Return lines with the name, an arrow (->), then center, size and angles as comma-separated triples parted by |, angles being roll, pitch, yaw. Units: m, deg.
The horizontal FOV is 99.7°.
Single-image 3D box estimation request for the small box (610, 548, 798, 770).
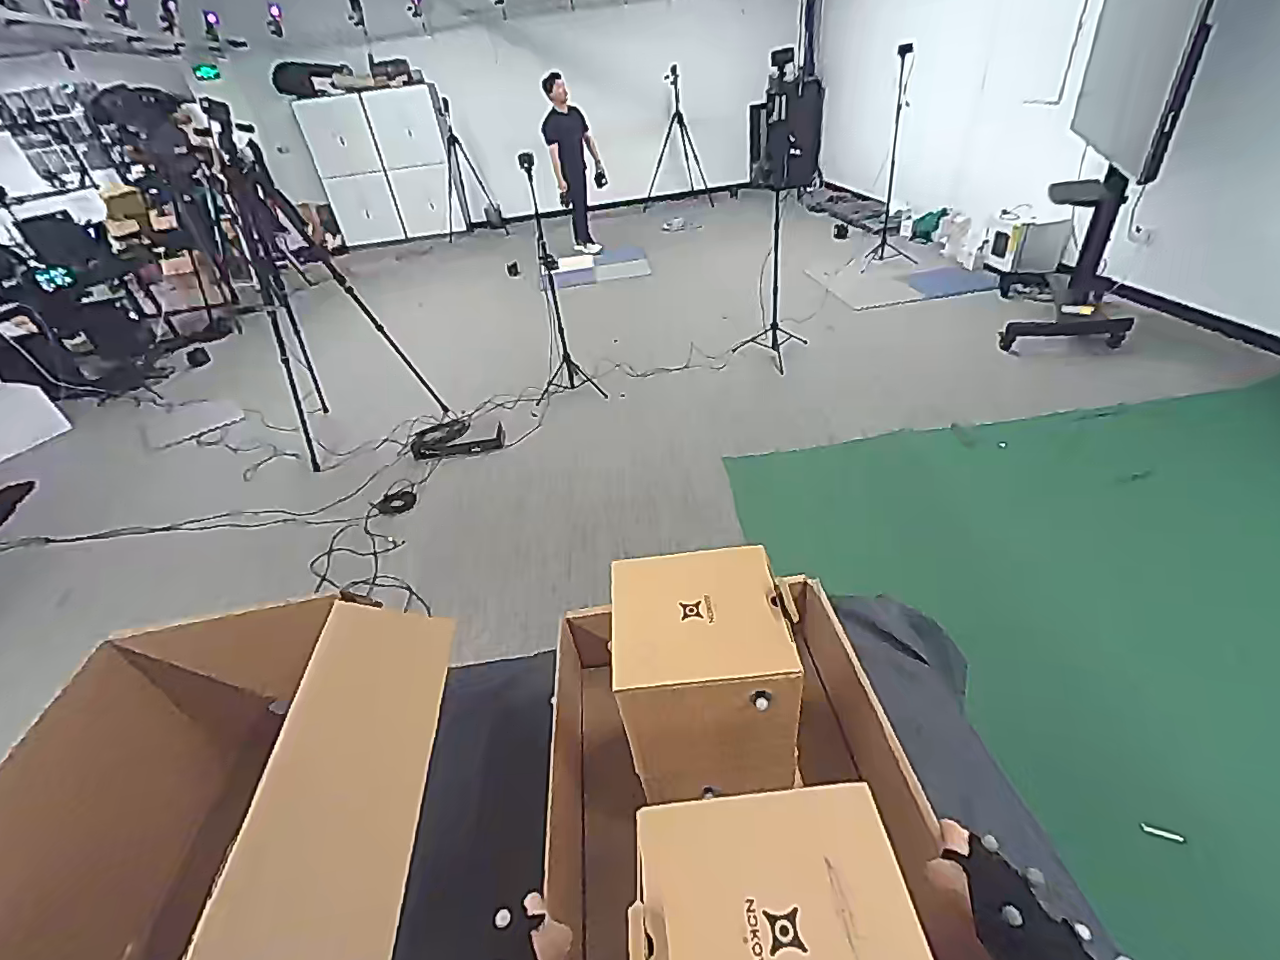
small box -> 0.065, 0.200, 0.601 | 0.179, 0.176, 0.168 | -6, 38, 2
